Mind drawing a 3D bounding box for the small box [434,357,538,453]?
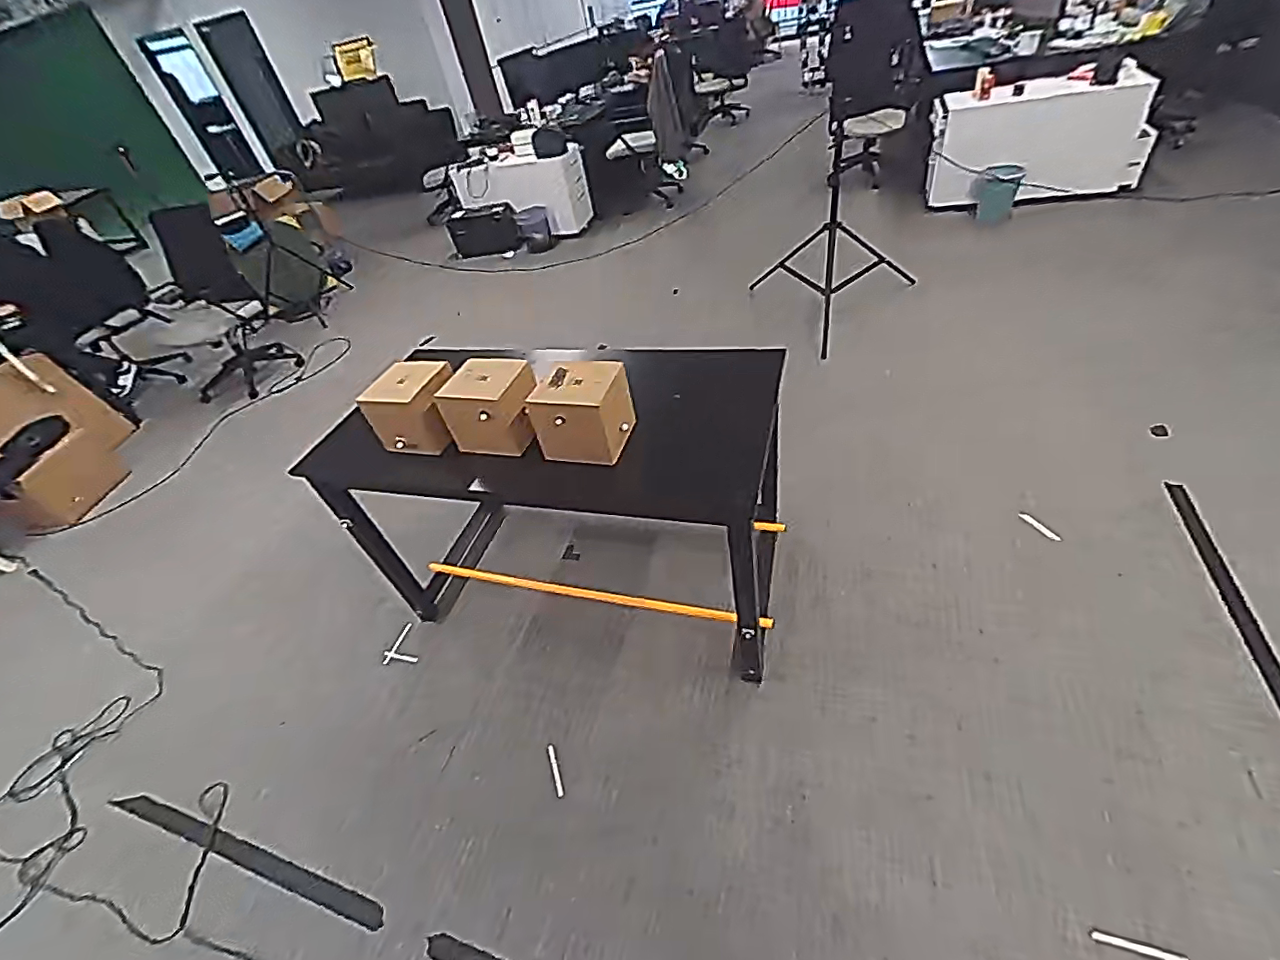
[{"bbox_3d":[-0.352,-0.181,1.311,0.179,0.176,0.168,6,45,20],"label":"small box"}]

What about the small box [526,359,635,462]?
[{"bbox_3d":[-0.126,-0.157,1.228,0.179,0.176,0.168,6,46,19],"label":"small box"}]

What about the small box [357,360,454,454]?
[{"bbox_3d":[-0.563,-0.187,1.373,0.168,0.176,0.179,3,46,19],"label":"small box"}]
